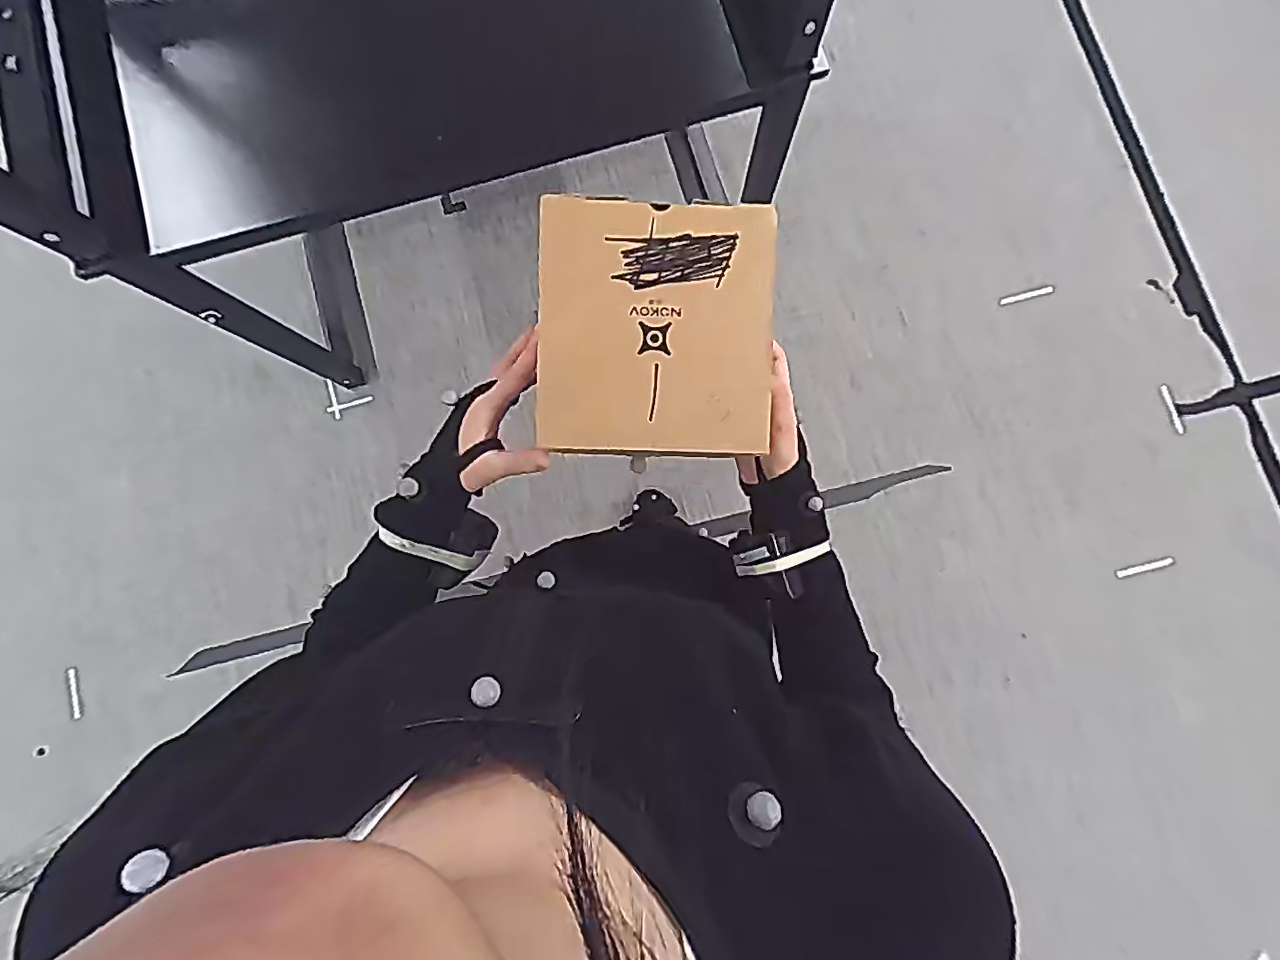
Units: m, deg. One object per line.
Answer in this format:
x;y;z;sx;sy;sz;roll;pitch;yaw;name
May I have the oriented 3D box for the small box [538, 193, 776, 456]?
0.009;-0.112;0.461;0.168;0.176;0.179;2;92;-2;small box
